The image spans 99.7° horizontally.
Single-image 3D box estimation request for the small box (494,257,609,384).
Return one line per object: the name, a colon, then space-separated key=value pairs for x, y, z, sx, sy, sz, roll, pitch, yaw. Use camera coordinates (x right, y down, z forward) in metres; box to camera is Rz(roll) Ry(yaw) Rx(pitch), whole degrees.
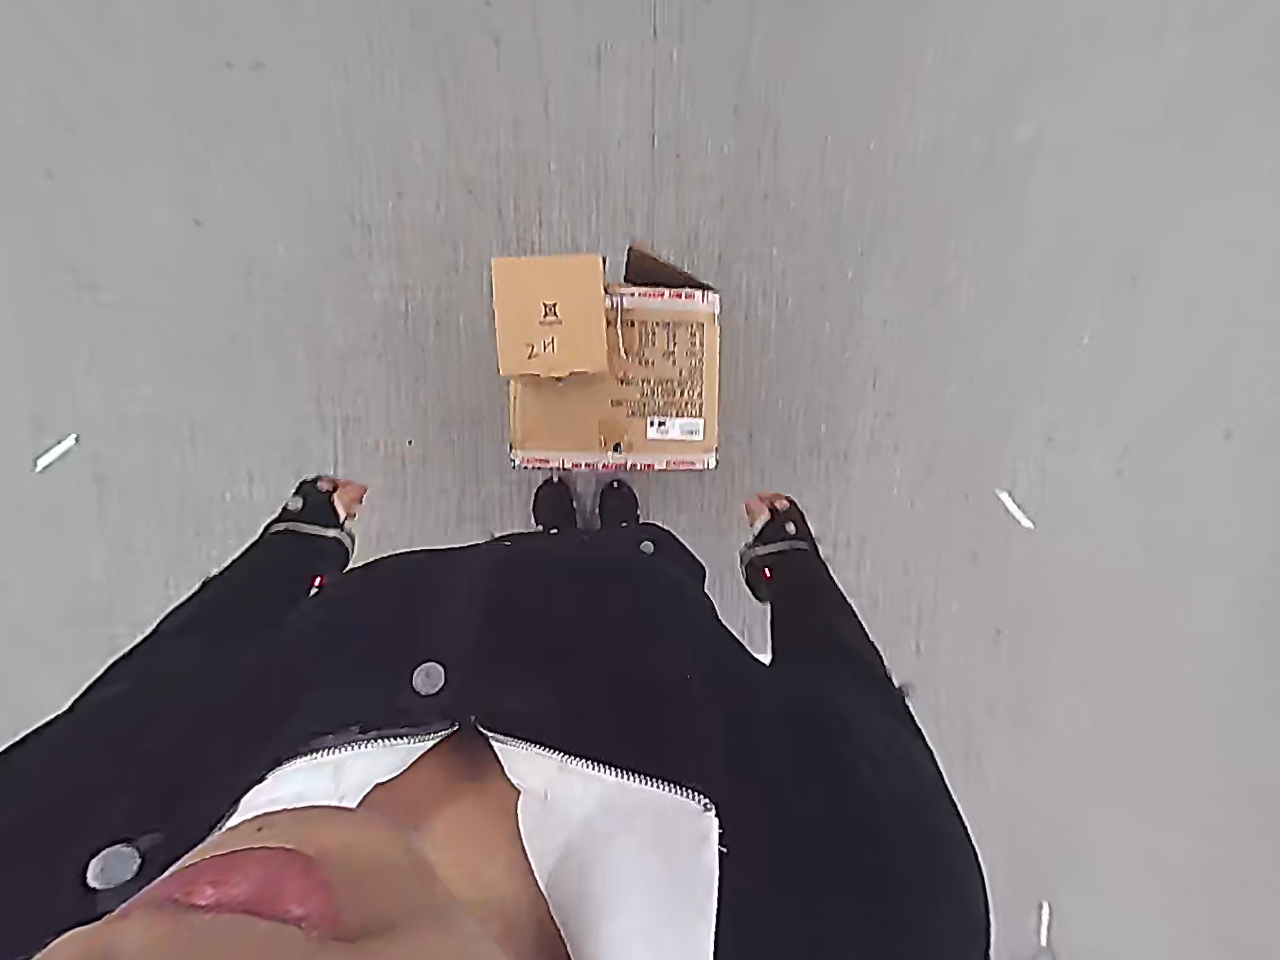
small box: x=-0.137 y=-0.253 z=0.891 sx=0.168 sy=0.176 sz=0.179 roll=-3 pitch=98 yaw=-2
